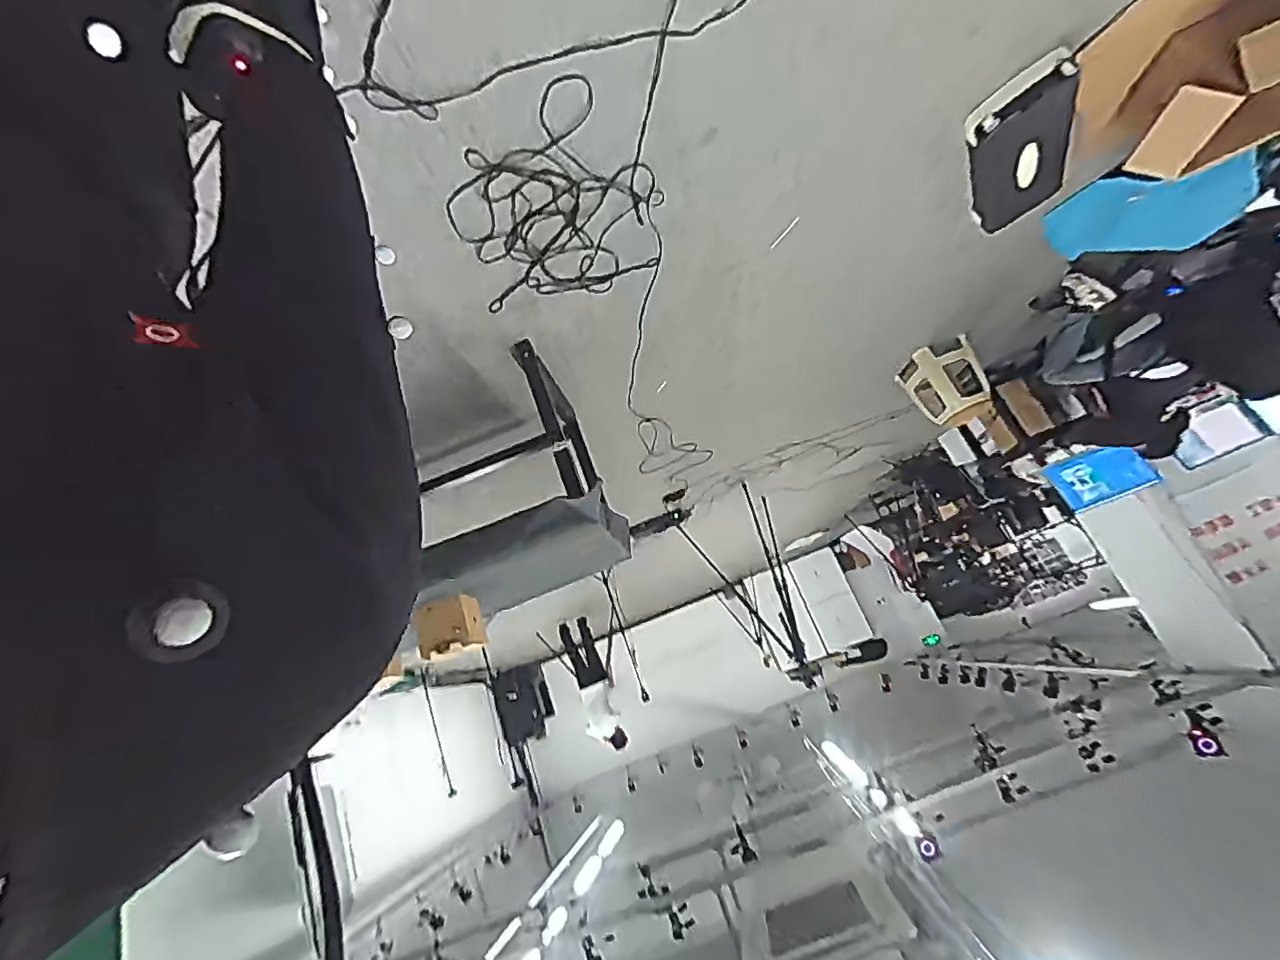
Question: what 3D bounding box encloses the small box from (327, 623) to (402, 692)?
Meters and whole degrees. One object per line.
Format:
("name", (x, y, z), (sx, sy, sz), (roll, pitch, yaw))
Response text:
("small box", (-0.934, 0.600, 1.827), (0.179, 0.176, 0.168), (-19, 162, -13))
